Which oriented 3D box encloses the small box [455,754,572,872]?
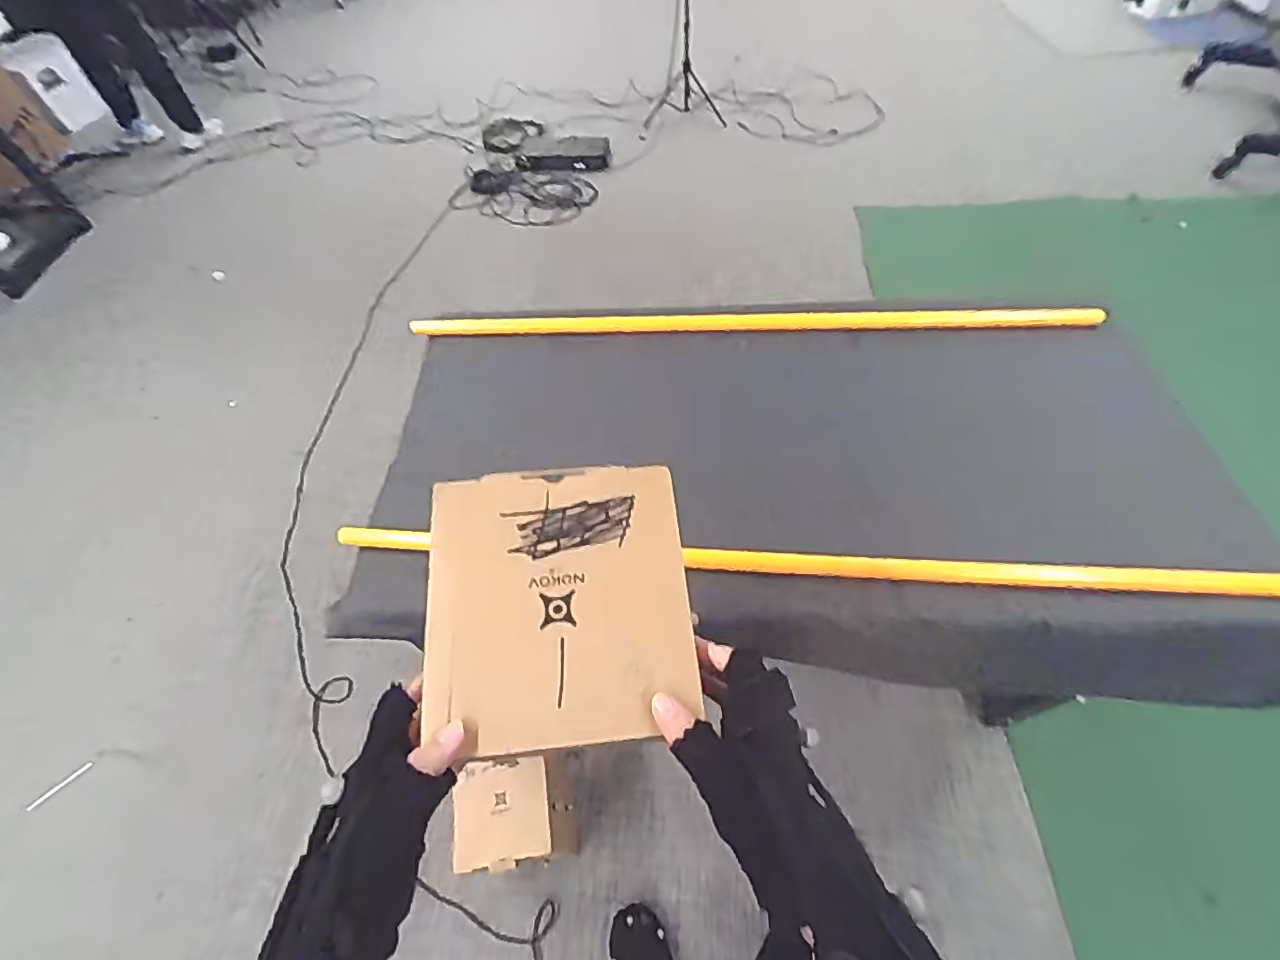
[{"bbox_3d":[-0.231,0.601,1.006,0.168,0.176,0.179,-14,56,-3],"label":"small box"}]

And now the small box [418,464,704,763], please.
[{"bbox_3d":[-0.054,0.109,0.417,0.168,0.176,0.179,-7,62,-4],"label":"small box"}]
